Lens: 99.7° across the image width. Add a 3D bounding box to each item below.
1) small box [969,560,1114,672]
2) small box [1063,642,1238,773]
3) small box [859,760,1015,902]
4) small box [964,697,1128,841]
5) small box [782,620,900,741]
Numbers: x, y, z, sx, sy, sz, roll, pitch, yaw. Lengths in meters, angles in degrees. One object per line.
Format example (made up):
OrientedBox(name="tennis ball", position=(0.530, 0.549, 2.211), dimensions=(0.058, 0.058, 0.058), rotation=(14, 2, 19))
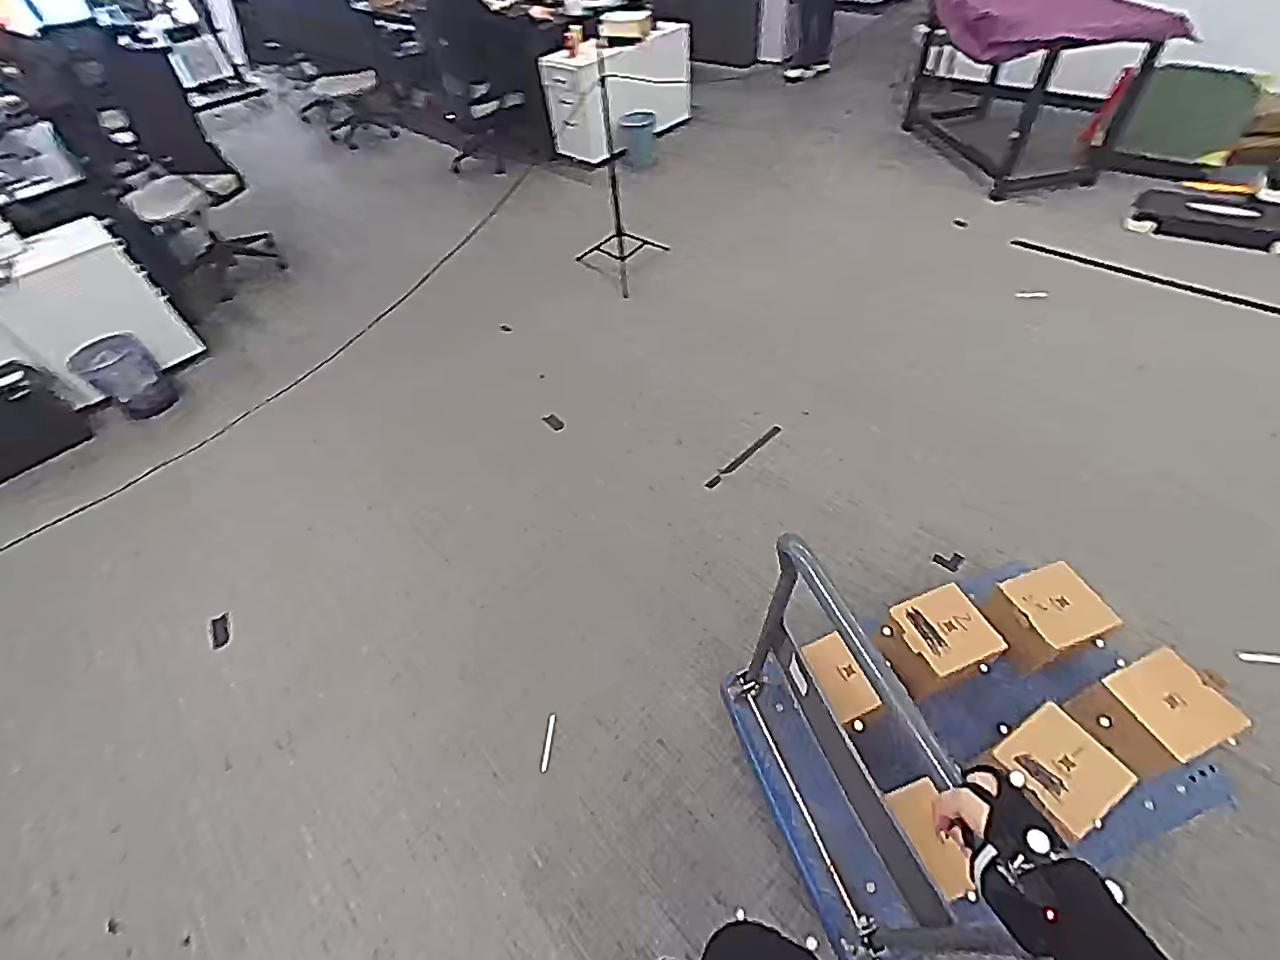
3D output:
OrientedBox(name="small box", position=(0.906, 0.314, 1.241), dimensions=(0.179, 0.176, 0.168), rotation=(-17, 51, -7))
OrientedBox(name="small box", position=(1.019, 0.468, 1.104), dimensions=(0.179, 0.176, 0.168), rotation=(-21, 51, -11))
OrientedBox(name="small box", position=(0.532, 0.655, 1.004), dimensions=(0.179, 0.176, 0.168), rotation=(-17, 51, -9))
OrientedBox(name="small box", position=(0.769, 0.564, 1.051), dimensions=(0.179, 0.176, 0.168), rotation=(-27, 53, -17))
OrientedBox(name="small box", position=(0.427, 0.444, 1.187), dimensions=(0.179, 0.176, 0.168), rotation=(-21, 52, -11))
